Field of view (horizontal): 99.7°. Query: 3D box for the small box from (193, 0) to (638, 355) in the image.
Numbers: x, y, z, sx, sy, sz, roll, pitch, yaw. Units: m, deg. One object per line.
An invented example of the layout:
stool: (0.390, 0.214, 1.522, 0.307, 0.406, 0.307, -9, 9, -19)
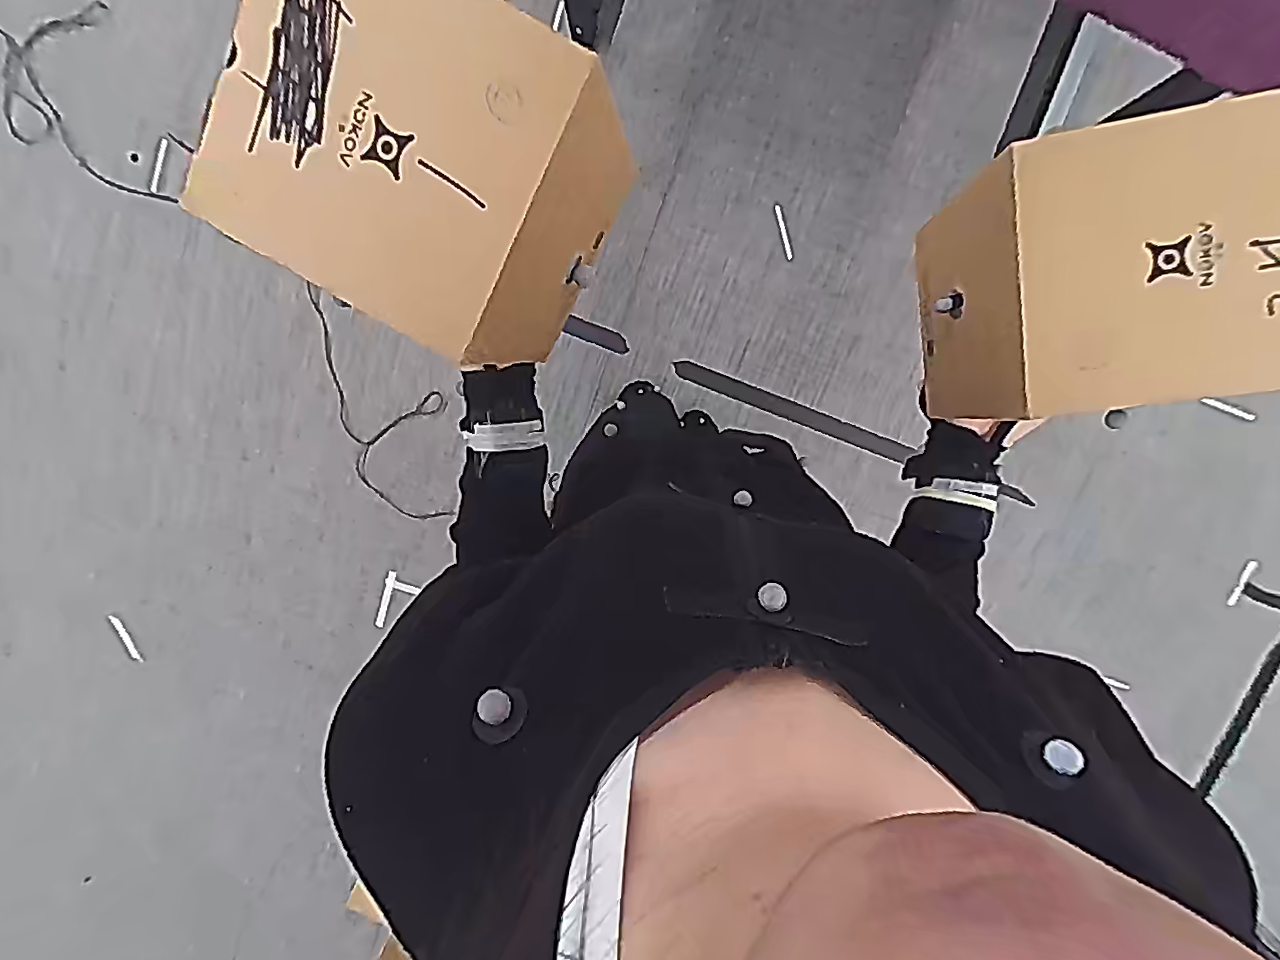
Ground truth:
small box: (-0.119, -0.194, 0.349, 0.179, 0.176, 0.168, 30, 106, -1)

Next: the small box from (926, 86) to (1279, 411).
small box: (0.326, -0.141, 0.392, 0.179, 0.176, 0.168, -6, 97, 9)
